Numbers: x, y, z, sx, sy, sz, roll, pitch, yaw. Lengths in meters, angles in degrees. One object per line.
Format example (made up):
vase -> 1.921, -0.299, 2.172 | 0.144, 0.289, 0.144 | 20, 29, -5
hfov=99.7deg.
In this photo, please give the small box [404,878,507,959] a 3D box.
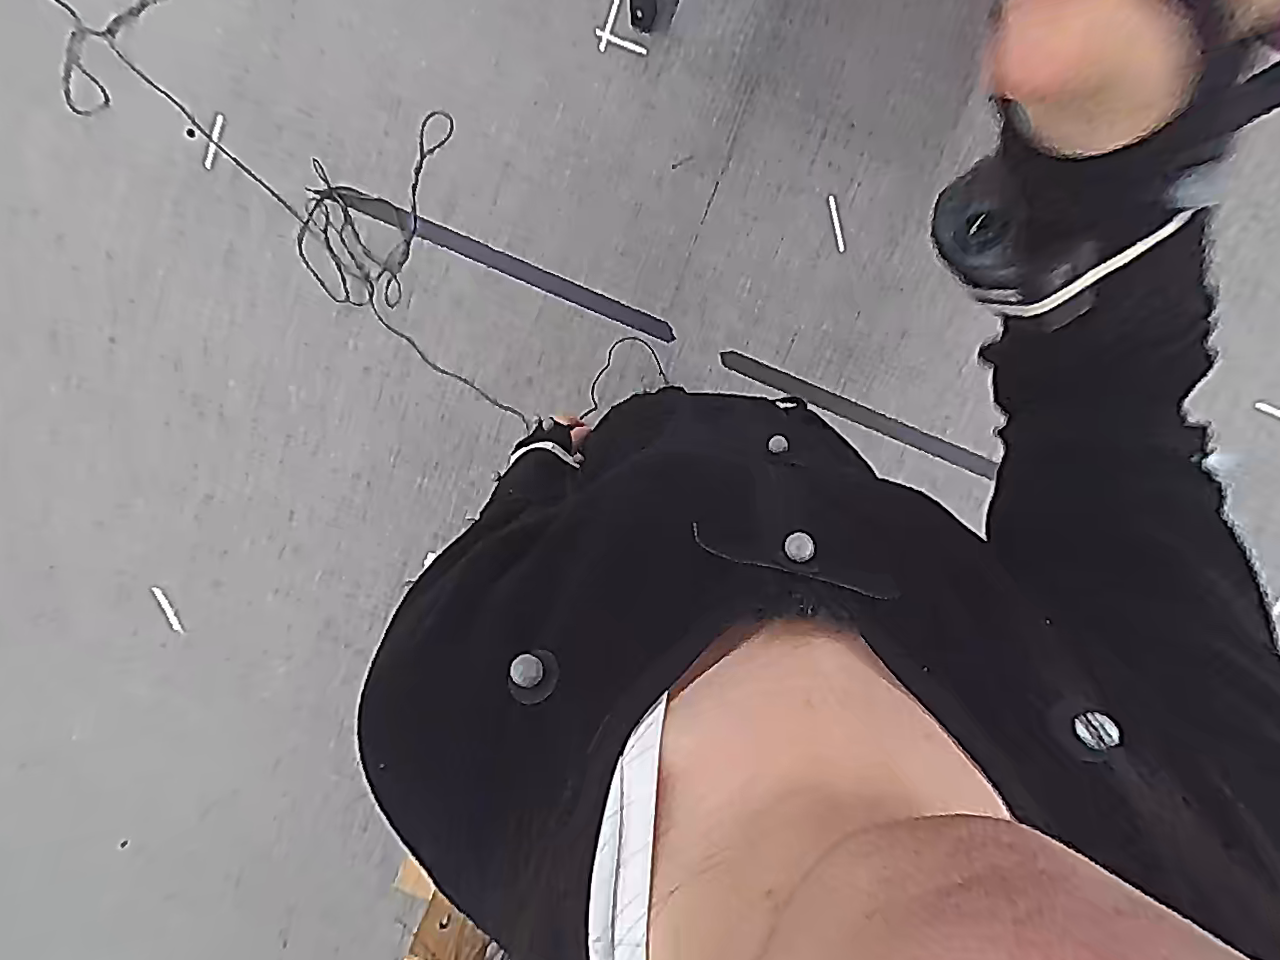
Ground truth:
small box -> -0.389, 0.979, 1.118 | 0.168, 0.176, 0.179 | 19, 99, 0
